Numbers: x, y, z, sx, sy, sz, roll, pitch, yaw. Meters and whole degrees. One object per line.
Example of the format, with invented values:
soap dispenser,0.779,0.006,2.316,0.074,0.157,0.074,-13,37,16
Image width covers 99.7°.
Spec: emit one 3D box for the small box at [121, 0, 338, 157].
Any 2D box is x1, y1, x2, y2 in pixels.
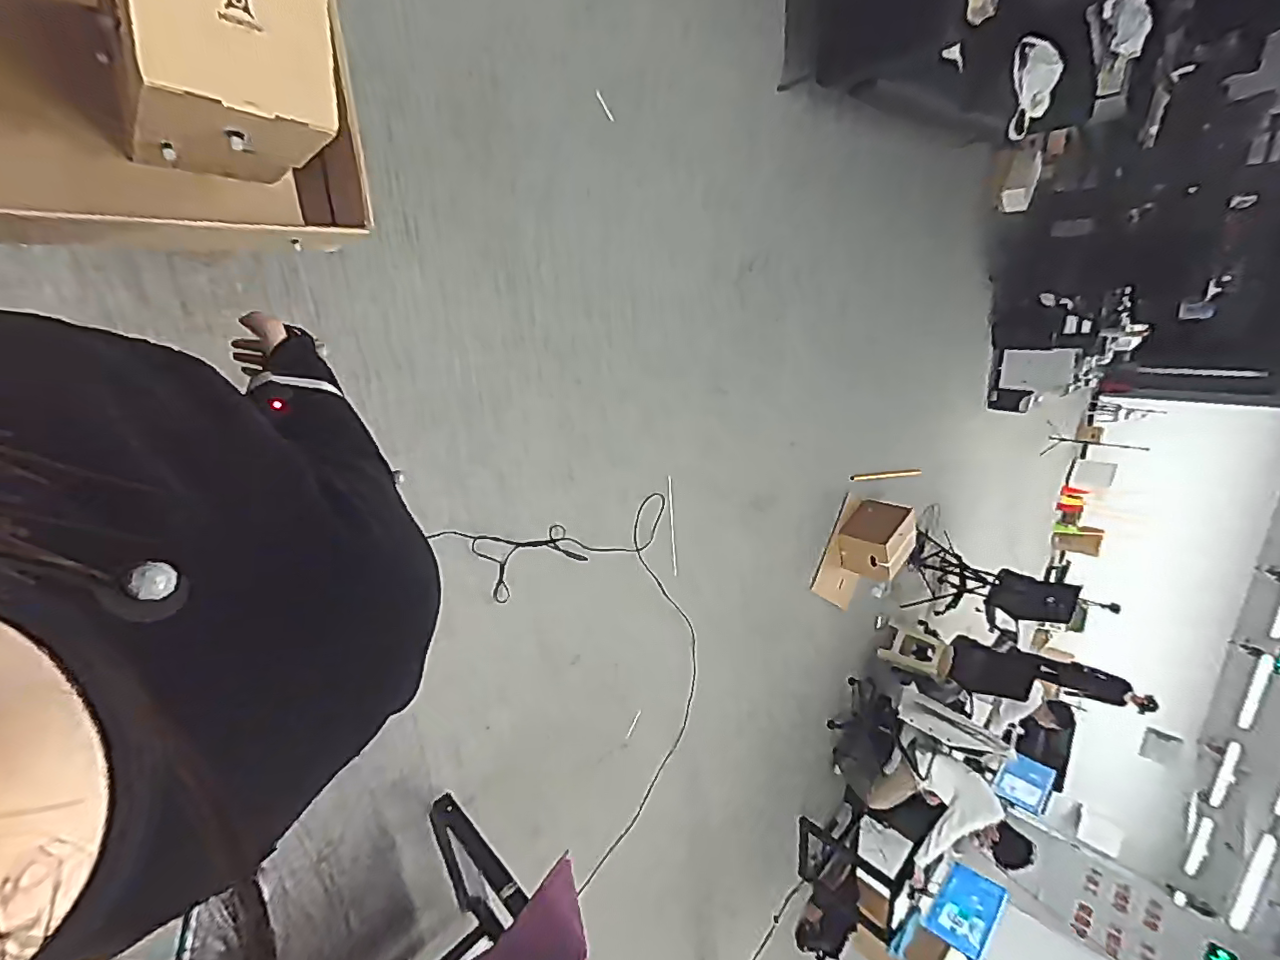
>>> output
small box,-0.441,-0.473,0.580,0.168,0.176,0.179,-10,109,-42
